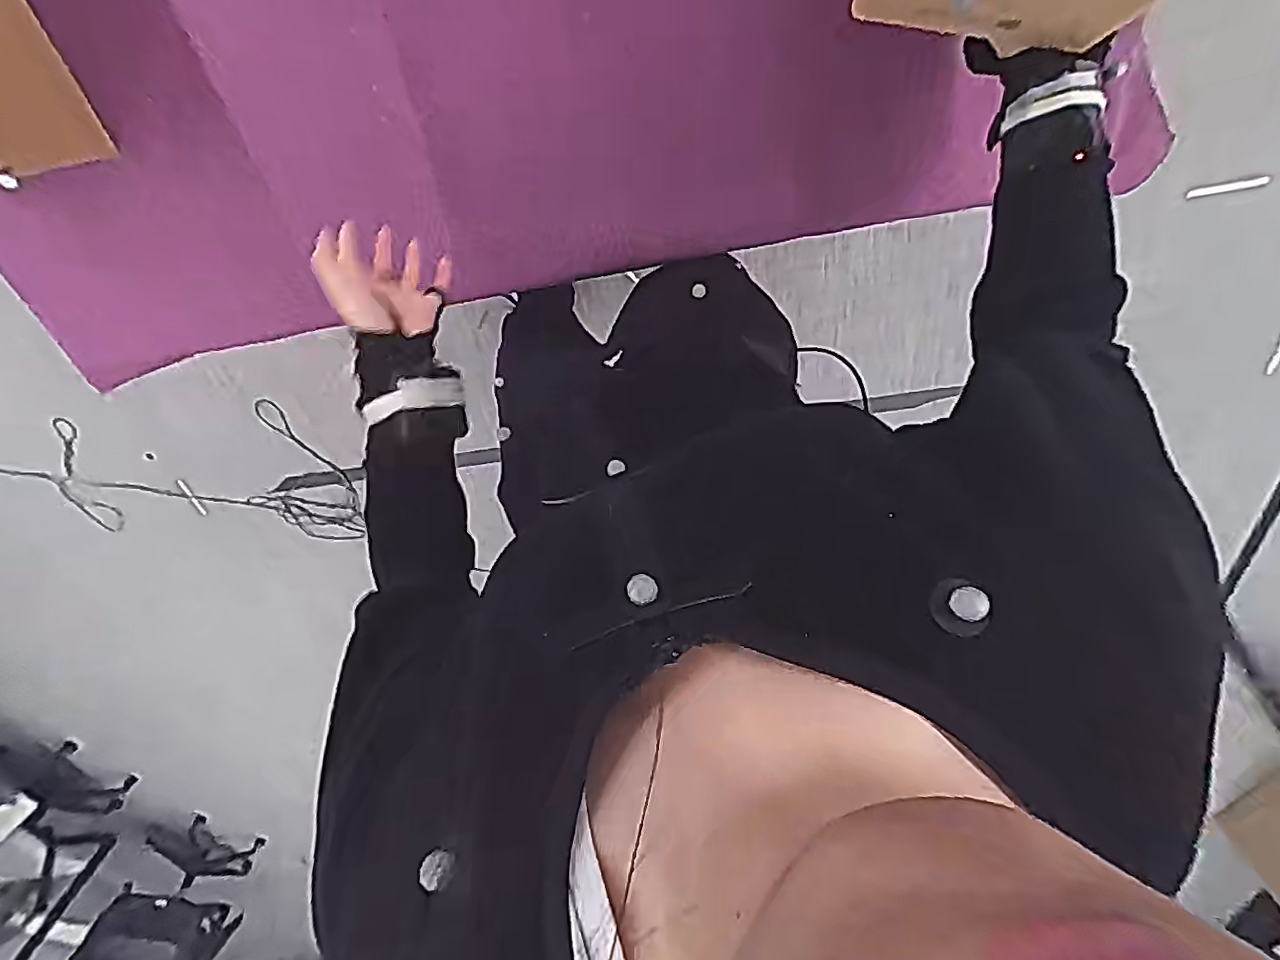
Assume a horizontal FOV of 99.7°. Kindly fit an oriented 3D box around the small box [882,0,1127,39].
[{"bbox_3d":[0.235,-0.376,0.289,0.168,0.176,0.179,16,114,8],"label":"small box"}]
